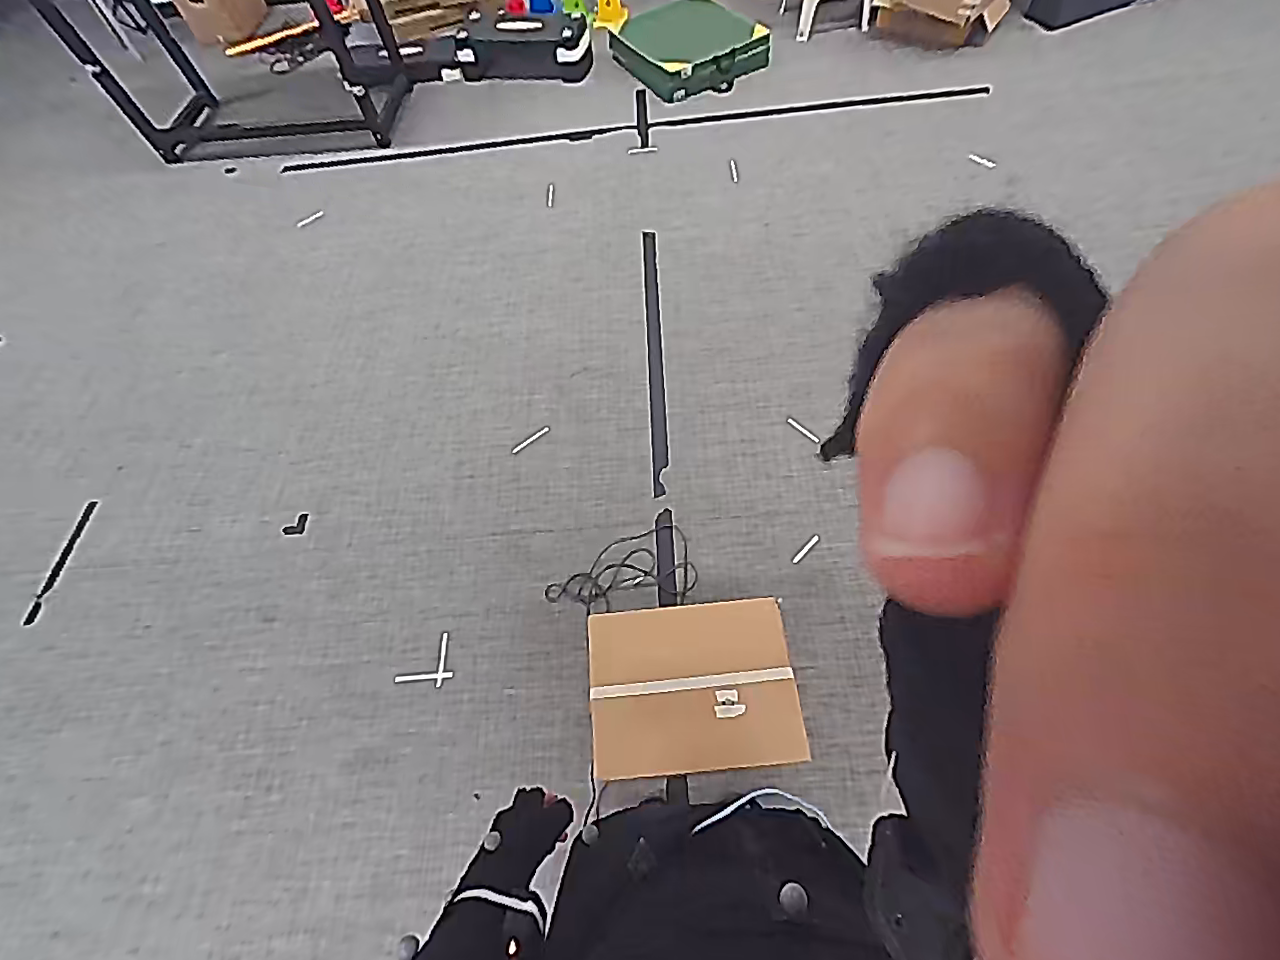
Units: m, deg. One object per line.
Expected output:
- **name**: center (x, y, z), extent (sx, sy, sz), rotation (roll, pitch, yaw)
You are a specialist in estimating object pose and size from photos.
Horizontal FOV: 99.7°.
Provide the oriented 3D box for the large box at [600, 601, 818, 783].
- **large box**: center (0.131, 0.483, 1.207), extent (0.408, 0.320, 0.320), rotation (-5, 61, 1)
